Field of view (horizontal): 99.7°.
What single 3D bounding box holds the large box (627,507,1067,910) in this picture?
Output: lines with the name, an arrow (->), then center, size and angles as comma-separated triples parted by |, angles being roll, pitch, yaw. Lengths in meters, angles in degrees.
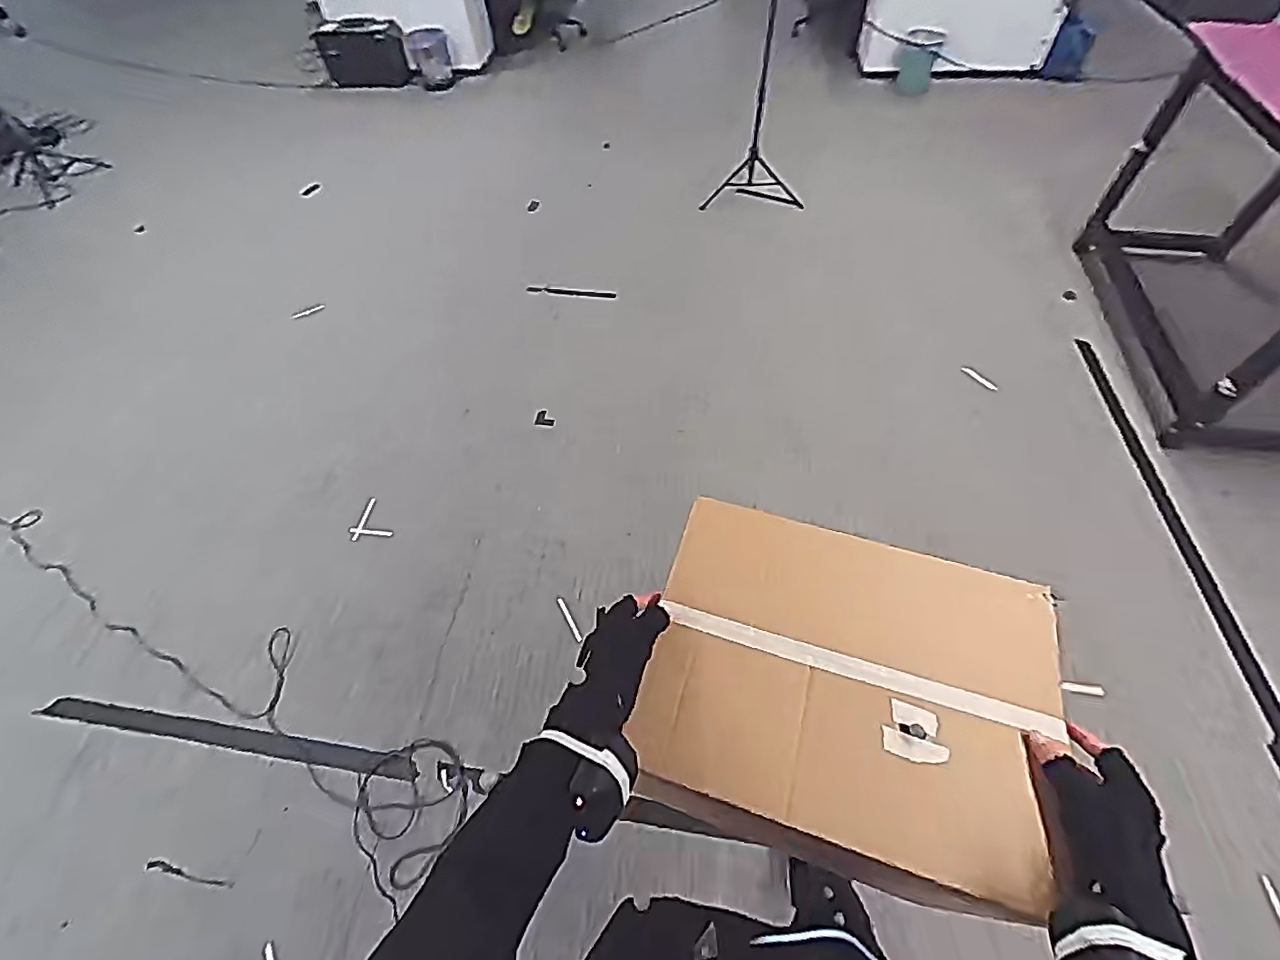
large box -> 0.221, 0.282, 0.695 | 0.408, 0.320, 0.320 | 15, 58, 12
